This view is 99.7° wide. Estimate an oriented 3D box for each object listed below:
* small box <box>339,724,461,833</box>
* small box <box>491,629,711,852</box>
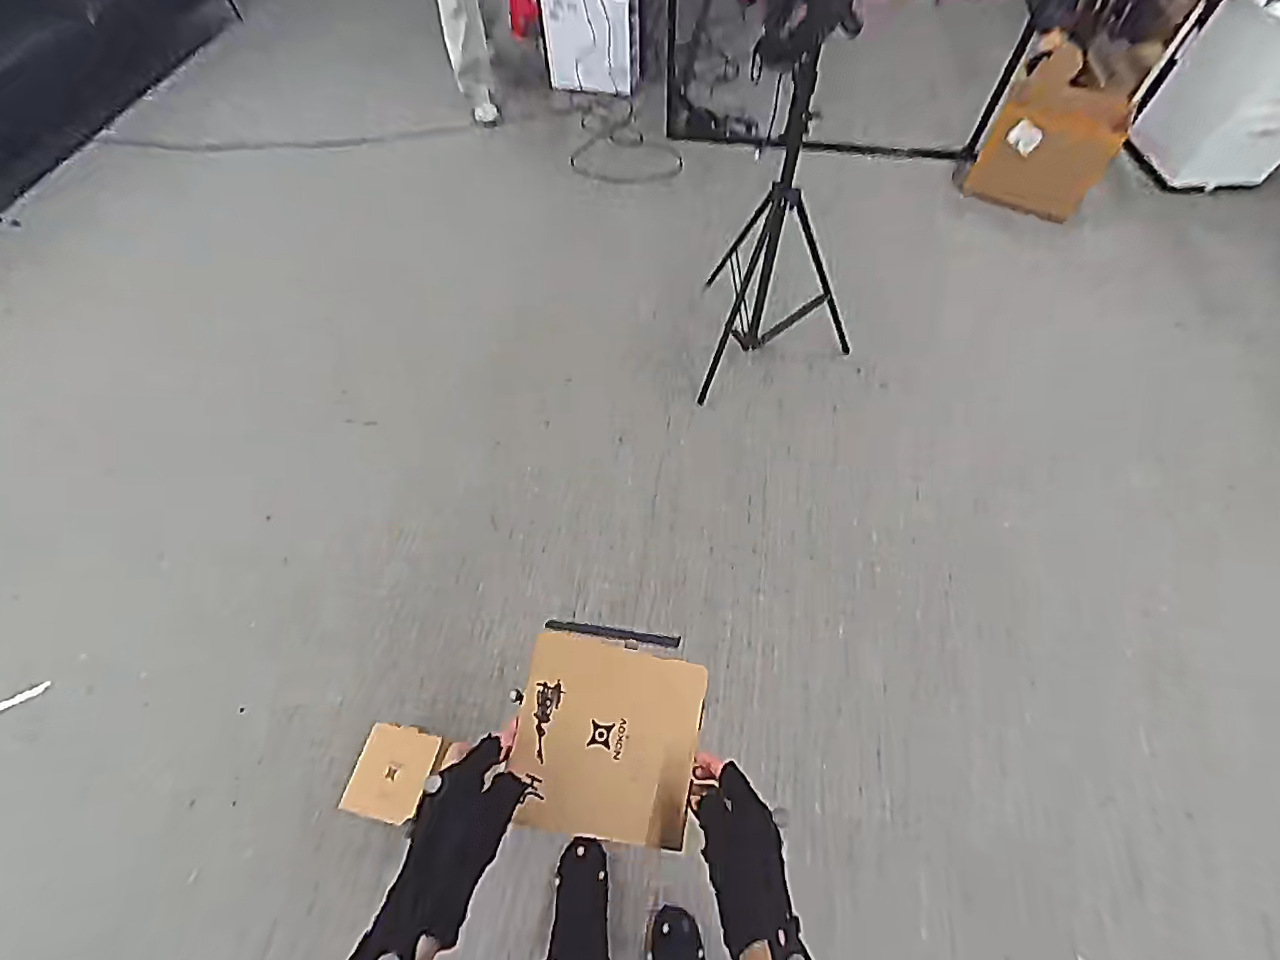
[{"bbox_3d":[-0.524,0.667,1.214,0.168,0.176,0.179,10,61,9],"label":"small box"},{"bbox_3d":[-0.045,0.256,0.568,0.179,0.176,0.168,15,71,-8],"label":"small box"}]
